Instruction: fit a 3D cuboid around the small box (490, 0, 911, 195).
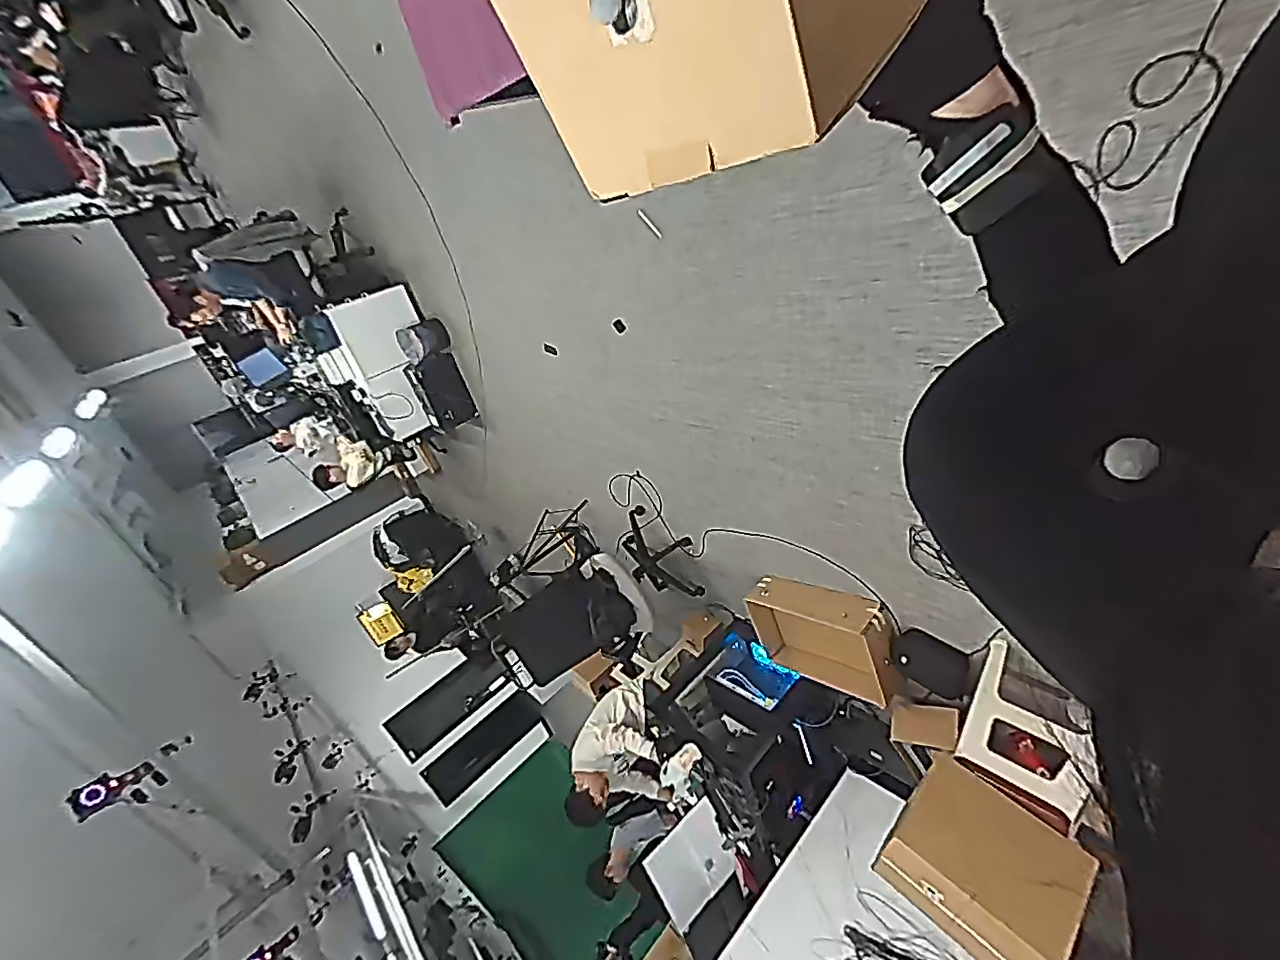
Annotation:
[{"bbox_3d":[0.027,-0.292,0.285,0.168,0.179,0.176,13,150,42],"label":"small box"}]
